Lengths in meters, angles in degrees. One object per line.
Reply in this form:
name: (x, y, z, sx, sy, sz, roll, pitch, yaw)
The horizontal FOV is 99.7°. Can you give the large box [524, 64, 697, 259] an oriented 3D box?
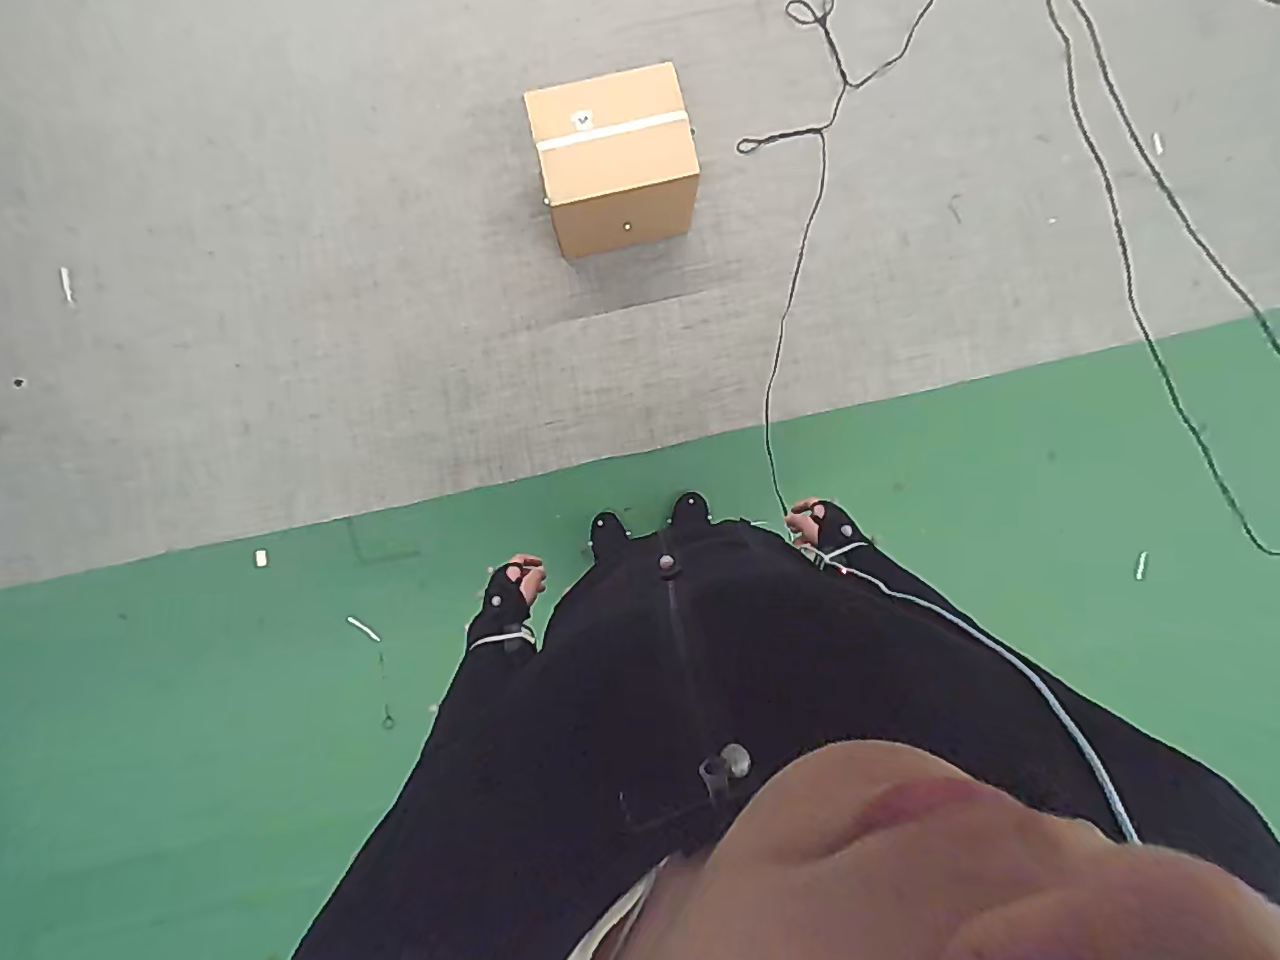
large box: (-0.077, -0.893, 1.562, 0.408, 0.320, 0.320, -14, 87, 0)
